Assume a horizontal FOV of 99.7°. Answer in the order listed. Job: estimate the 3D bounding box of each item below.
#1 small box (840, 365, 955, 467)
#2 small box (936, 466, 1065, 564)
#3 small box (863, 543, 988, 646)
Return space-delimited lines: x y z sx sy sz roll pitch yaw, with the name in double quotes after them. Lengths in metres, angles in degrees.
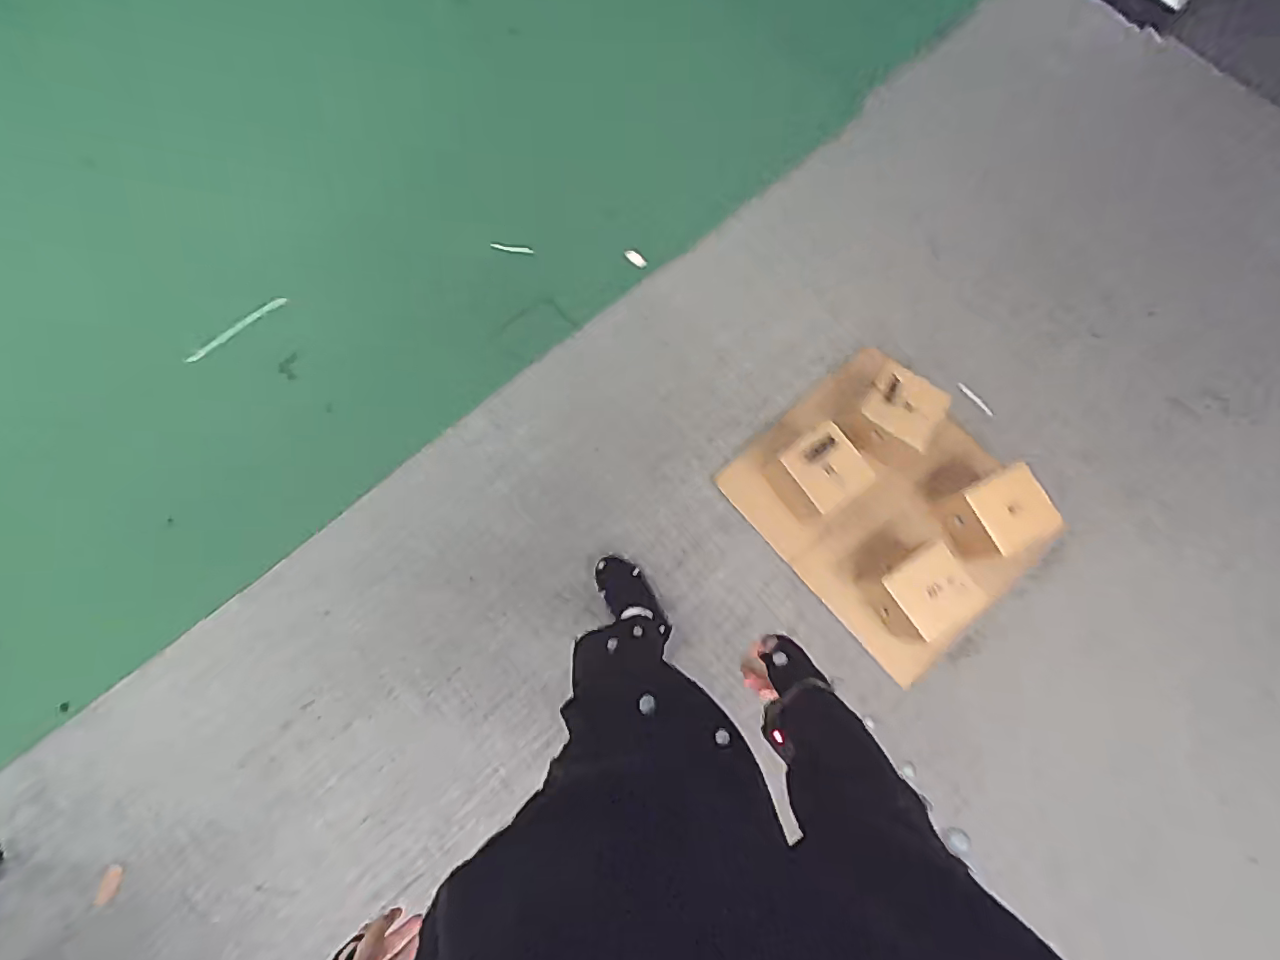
0.646 -0.154 1.382 0.179 0.176 0.168 35 79 7 "small box"
0.861 0.093 1.319 0.179 0.176 0.168 -25 77 -7 "small box"
0.655 0.271 1.274 0.179 0.176 0.168 -32 79 -8 "small box"
